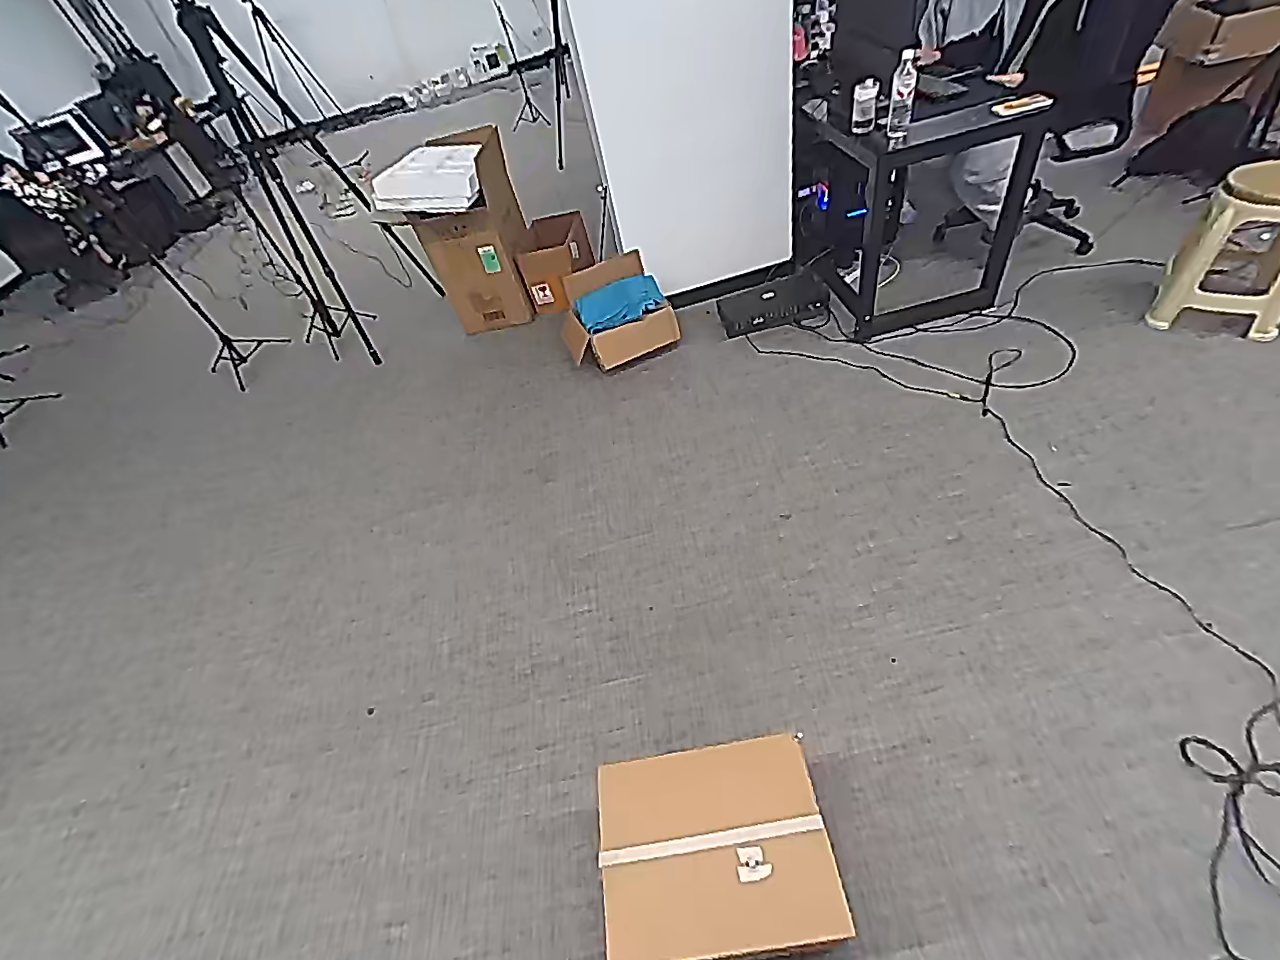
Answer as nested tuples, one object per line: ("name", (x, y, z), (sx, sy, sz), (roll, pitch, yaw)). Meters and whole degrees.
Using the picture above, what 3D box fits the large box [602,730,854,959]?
("large box", (0.160, 0.745, 1.078), (0.408, 0.320, 0.320), (-12, 47, 4))
